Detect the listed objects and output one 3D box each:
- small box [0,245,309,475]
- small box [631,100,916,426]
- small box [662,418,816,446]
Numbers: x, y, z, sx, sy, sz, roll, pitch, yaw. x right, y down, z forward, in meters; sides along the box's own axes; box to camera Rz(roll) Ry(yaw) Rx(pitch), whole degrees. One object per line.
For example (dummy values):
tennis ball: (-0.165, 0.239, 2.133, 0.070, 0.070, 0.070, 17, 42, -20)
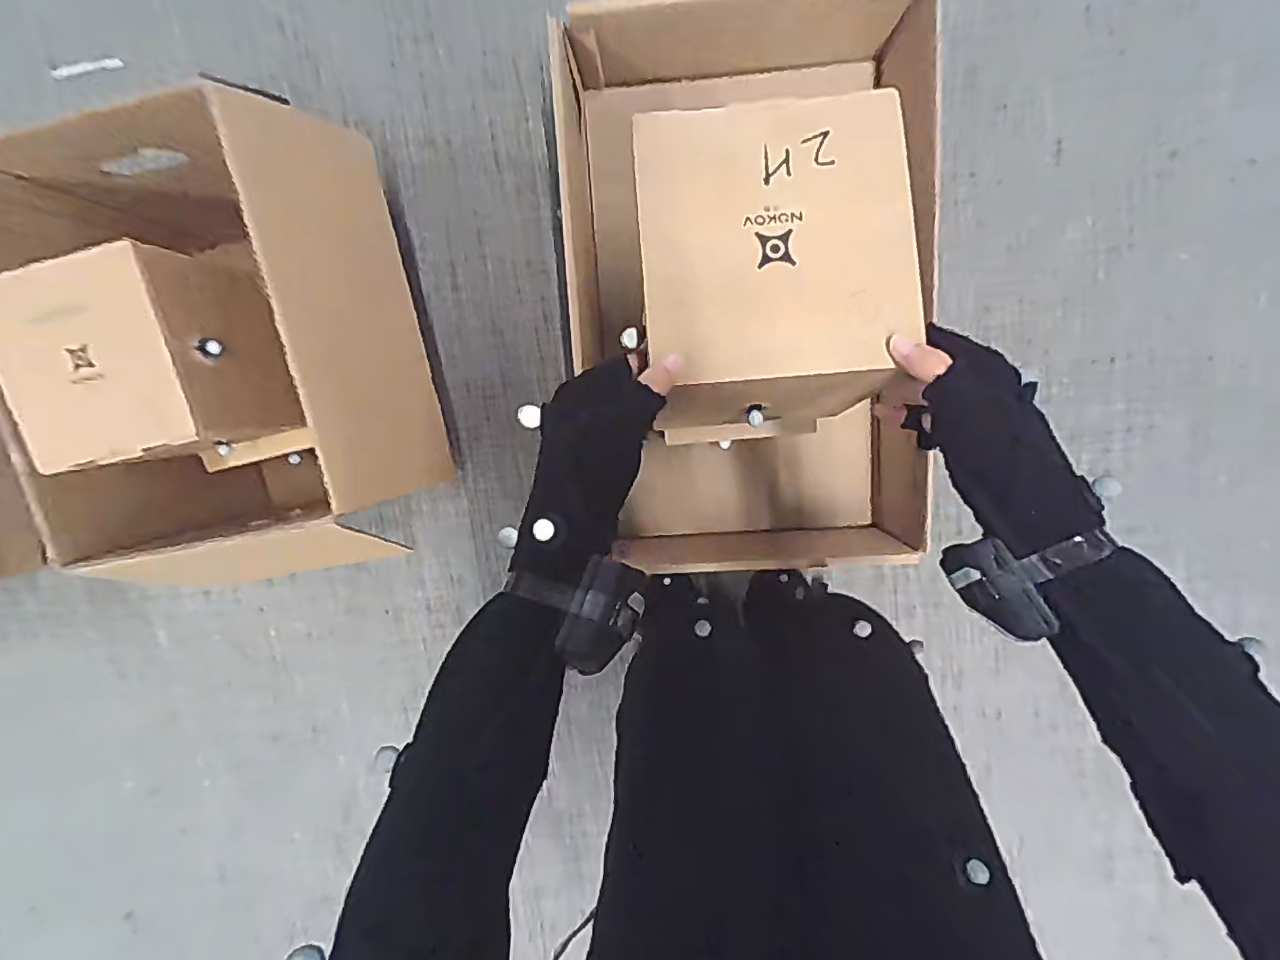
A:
small box: (-0.484, -0.116, 0.556, 0.168, 0.176, 0.179, -12, 99, 4)
small box: (0.085, -0.139, 0.413, 0.168, 0.176, 0.179, -4, 86, 2)
small box: (0.105, -0.137, 0.651, 0.168, 0.176, 0.179, -4, 97, 4)
